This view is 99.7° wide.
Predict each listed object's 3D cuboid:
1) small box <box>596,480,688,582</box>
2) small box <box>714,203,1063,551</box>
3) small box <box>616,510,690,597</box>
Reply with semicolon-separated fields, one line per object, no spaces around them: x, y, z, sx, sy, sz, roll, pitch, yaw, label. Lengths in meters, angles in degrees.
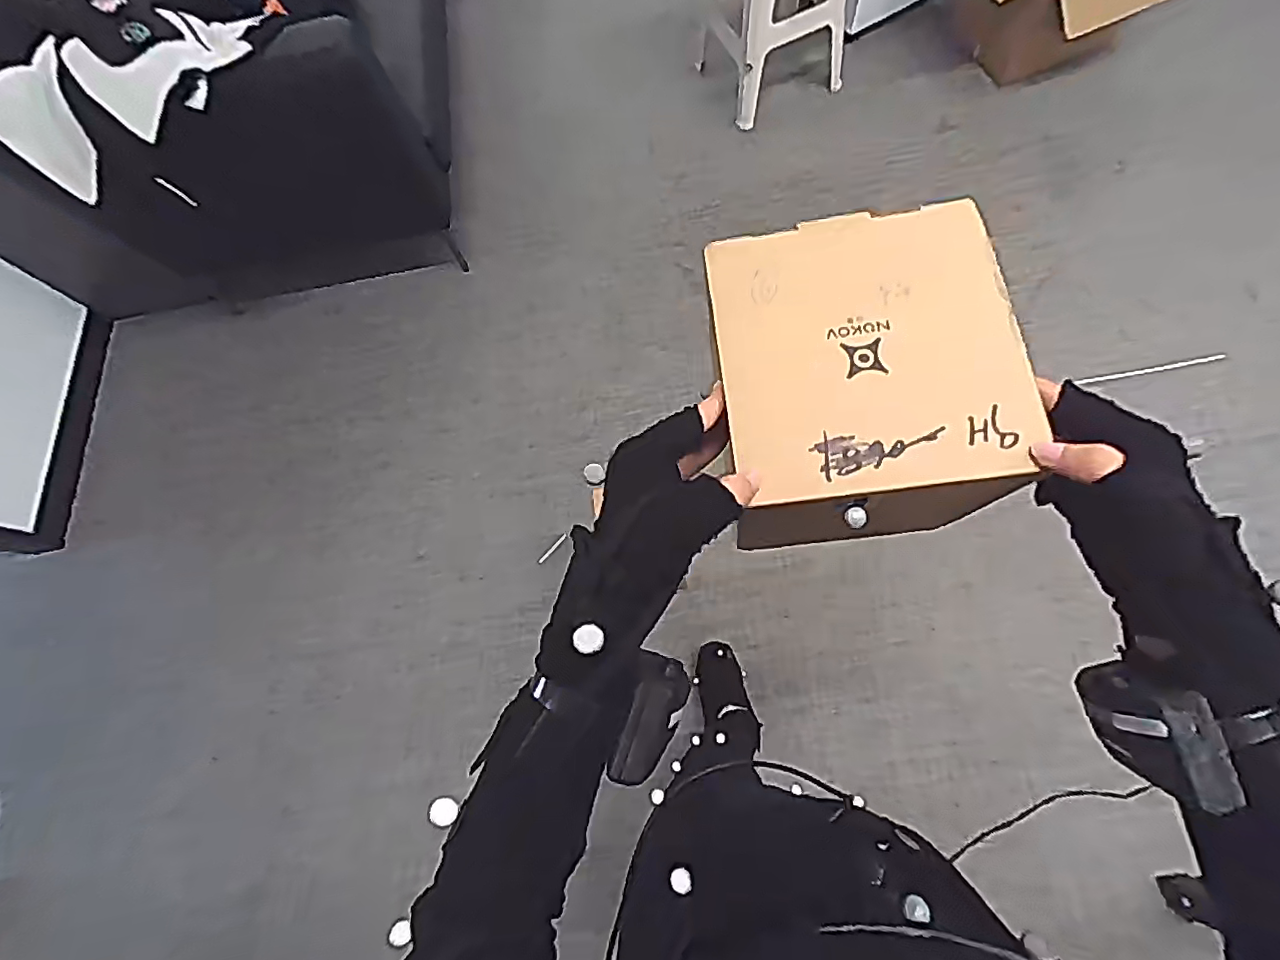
0.008;0.118;1.163;0.168;0.176;0.179;-10;69;4;small box
0.143;-0.055;0.388;0.168;0.176;0.179;-8;73;7;small box
0.028;0.178;1.315;0.168;0.176;0.179;-9;71;5;small box
